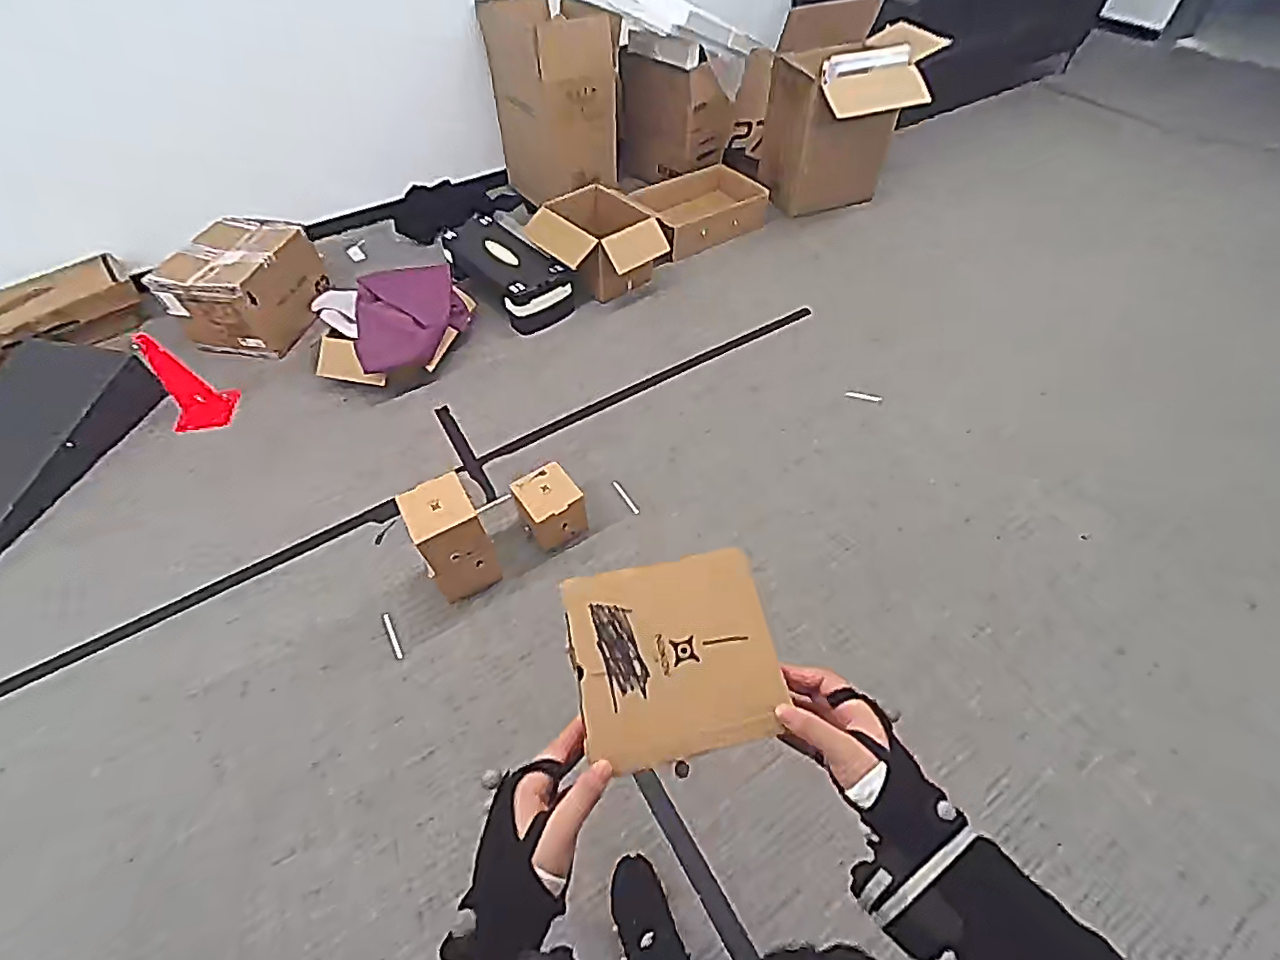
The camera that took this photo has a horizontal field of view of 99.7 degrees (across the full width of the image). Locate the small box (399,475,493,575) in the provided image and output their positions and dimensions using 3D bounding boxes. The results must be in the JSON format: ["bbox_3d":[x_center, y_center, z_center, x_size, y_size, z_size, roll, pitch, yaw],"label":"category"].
[{"bbox_3d":[-0.521,0.125,1.464,0.168,0.176,0.179,-28,58,-17],"label":"small box"}]

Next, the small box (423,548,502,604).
[{"bbox_3d":[-0.521,0.231,1.589,0.179,0.176,0.168,-26,56,-17],"label":"small box"}]

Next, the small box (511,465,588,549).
[{"bbox_3d":[-0.278,0.094,1.692,0.168,0.176,0.179,-30,58,-20],"label":"small box"}]

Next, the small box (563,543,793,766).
[{"bbox_3d":[0.027,0.182,0.546,0.179,0.176,0.168,-10,63,-8],"label":"small box"}]
